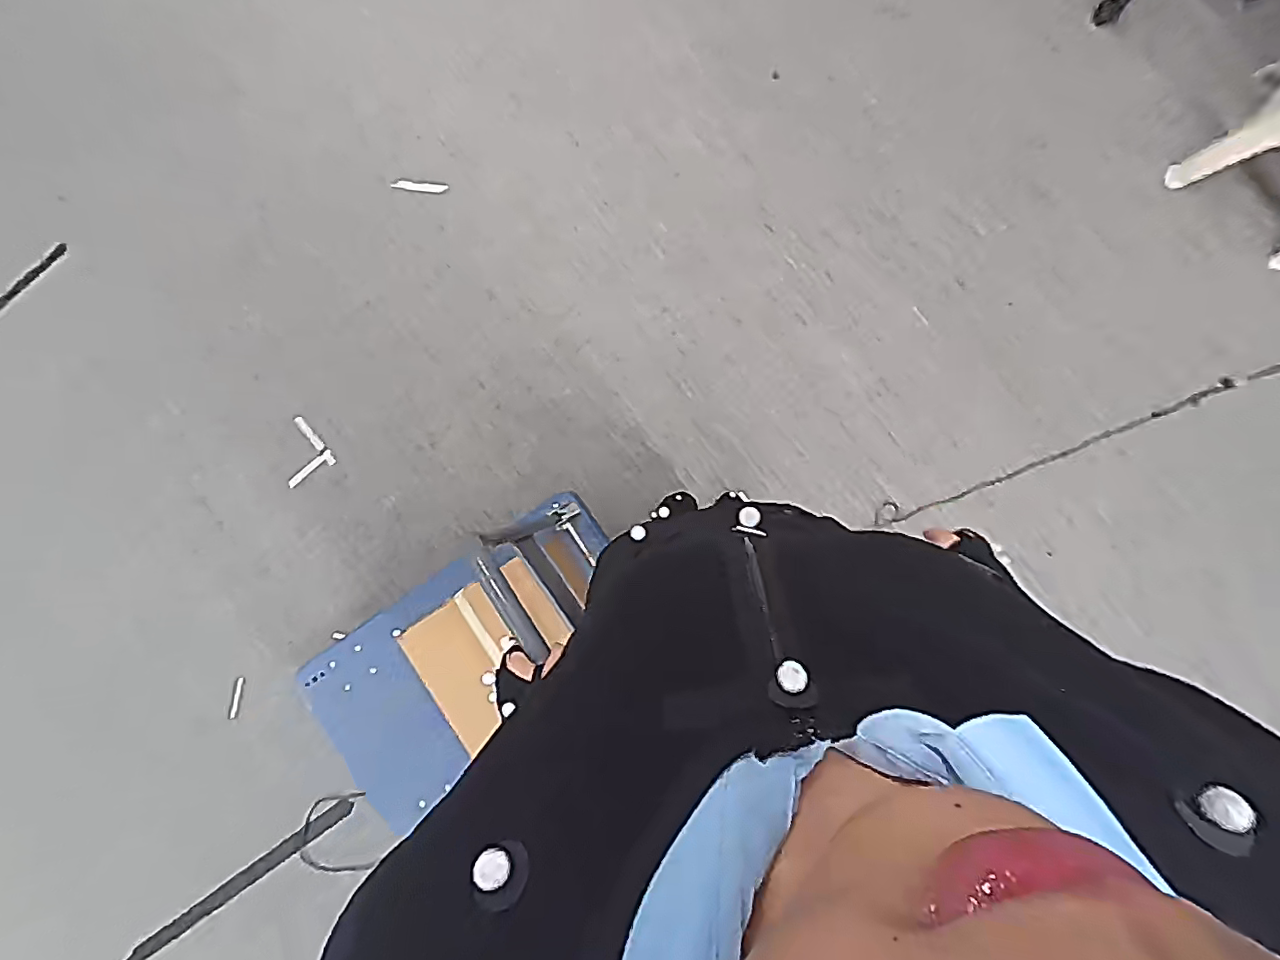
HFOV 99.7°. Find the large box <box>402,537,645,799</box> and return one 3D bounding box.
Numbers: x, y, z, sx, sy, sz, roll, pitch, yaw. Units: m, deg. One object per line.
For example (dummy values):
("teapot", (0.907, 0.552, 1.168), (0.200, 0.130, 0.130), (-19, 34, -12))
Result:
("large box", (-0.229, 0.386, 1.210), (0.320, 0.320, 0.408), (-33, 87, 3))
